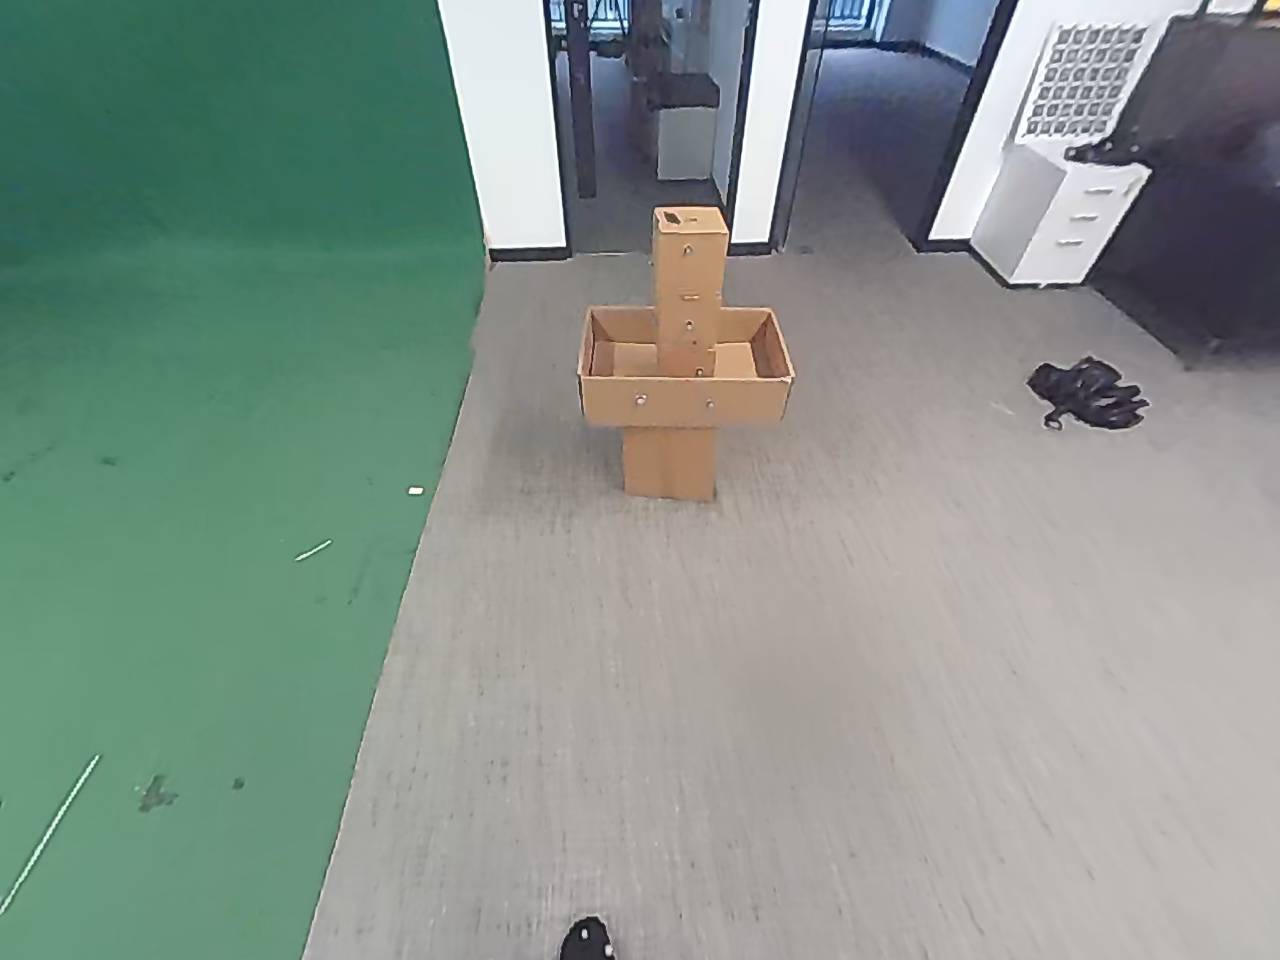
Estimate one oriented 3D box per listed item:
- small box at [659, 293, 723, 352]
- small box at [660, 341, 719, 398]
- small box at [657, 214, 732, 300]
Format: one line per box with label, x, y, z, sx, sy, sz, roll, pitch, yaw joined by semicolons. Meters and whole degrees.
small box;0.144;-0.486;1.574;0.168;0.176;0.179;-1;47;-2
small box;0.149;-0.371;1.691;0.168;0.176;0.179;-1;45;-2
small box;0.138;-0.598;1.452;0.179;0.176;0.168;-1;46;-3
